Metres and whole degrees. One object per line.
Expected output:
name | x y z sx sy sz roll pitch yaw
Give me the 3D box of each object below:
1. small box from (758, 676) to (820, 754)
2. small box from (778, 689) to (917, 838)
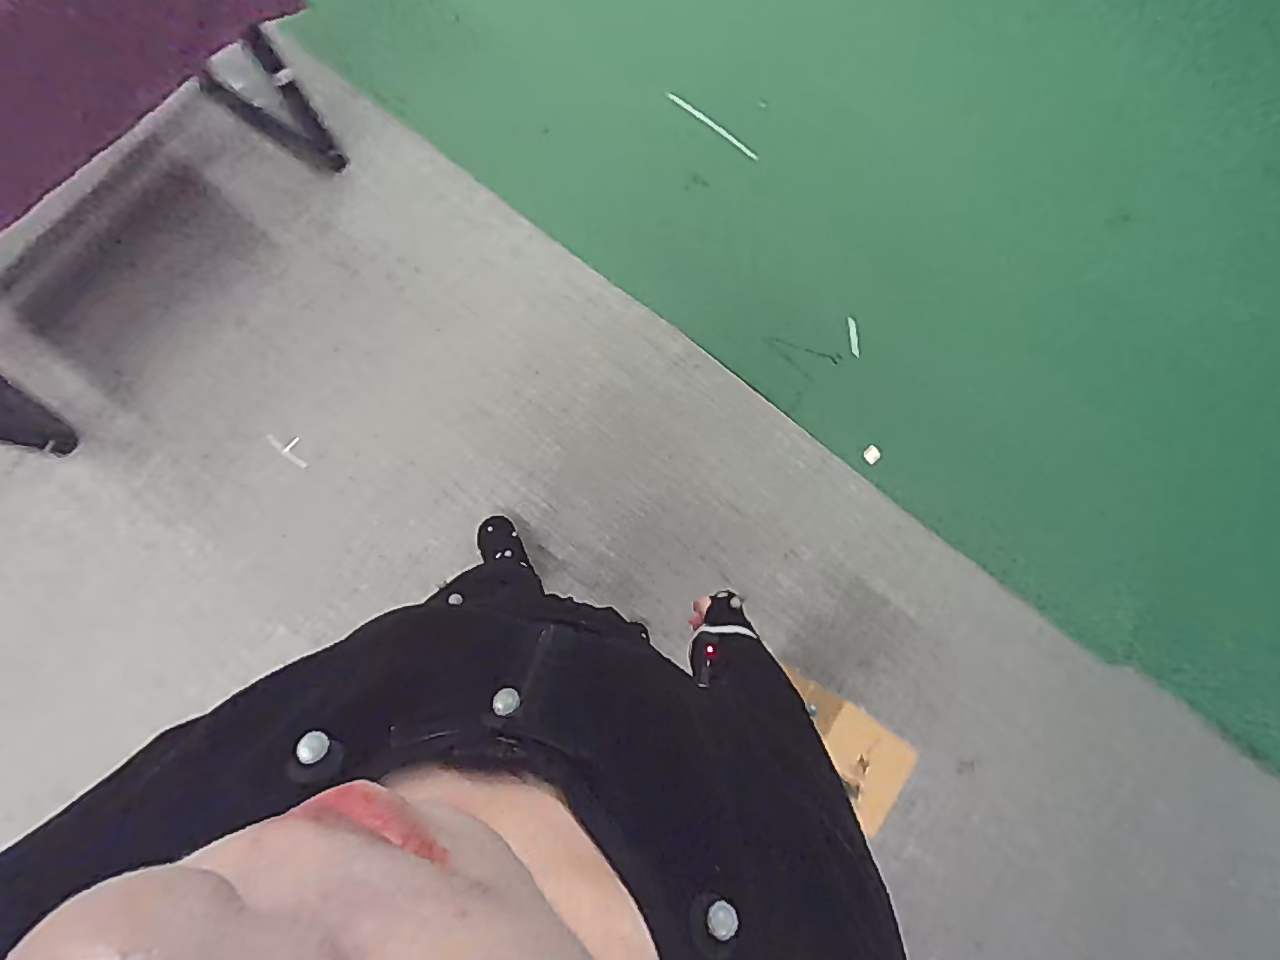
small box | 0.398 0.573 1.234 0.179 0.176 0.168 35 80 5
small box | 0.396 0.547 1.071 0.168 0.176 0.179 37 80 4
